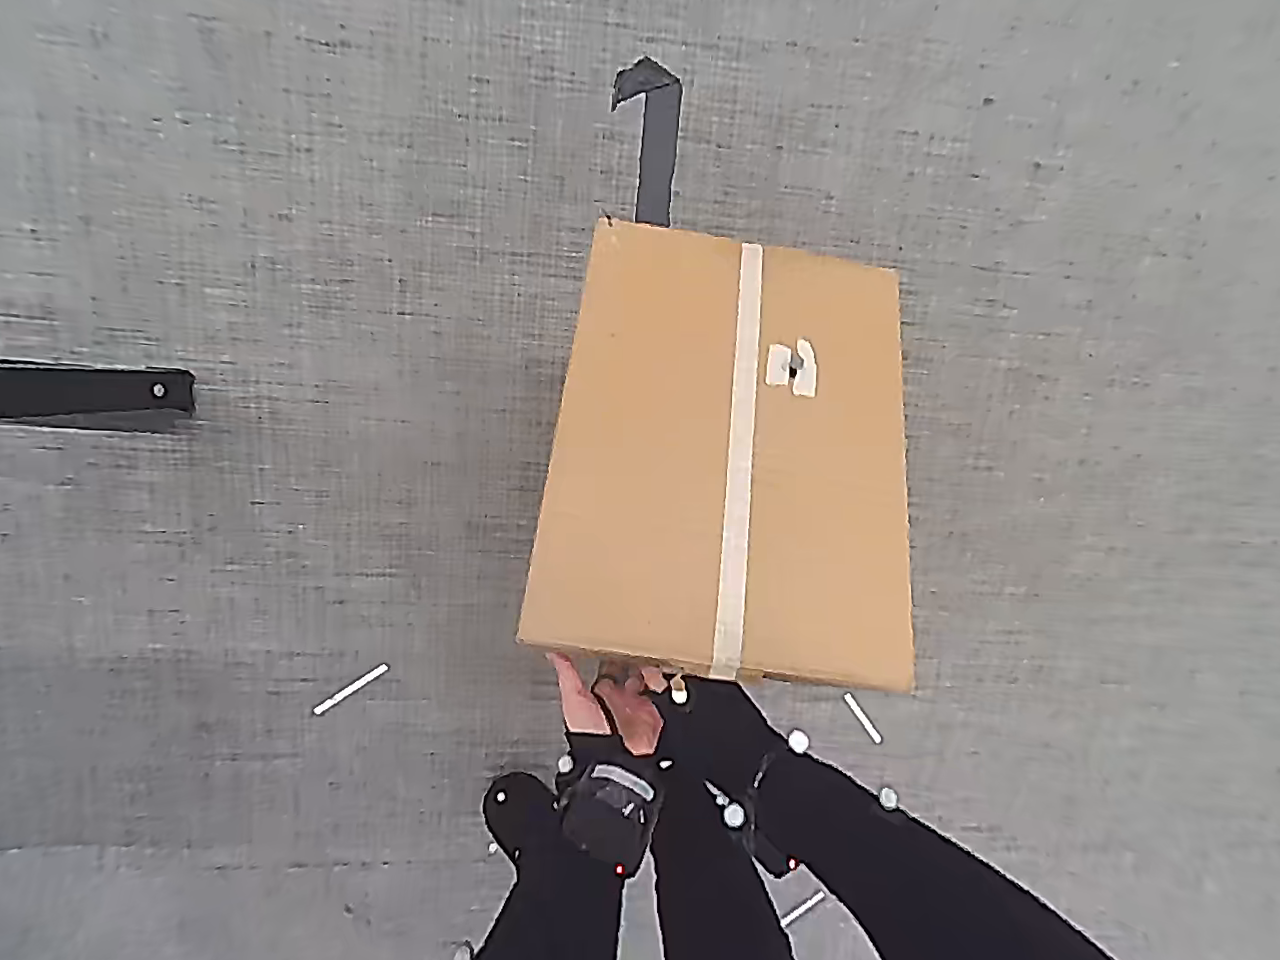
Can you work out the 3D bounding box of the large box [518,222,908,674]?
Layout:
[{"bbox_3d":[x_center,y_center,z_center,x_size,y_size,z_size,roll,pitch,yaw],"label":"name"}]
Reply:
[{"bbox_3d":[0.061,-0.001,0.616,0.320,0.320,0.408,8,70,-5],"label":"large box"}]
